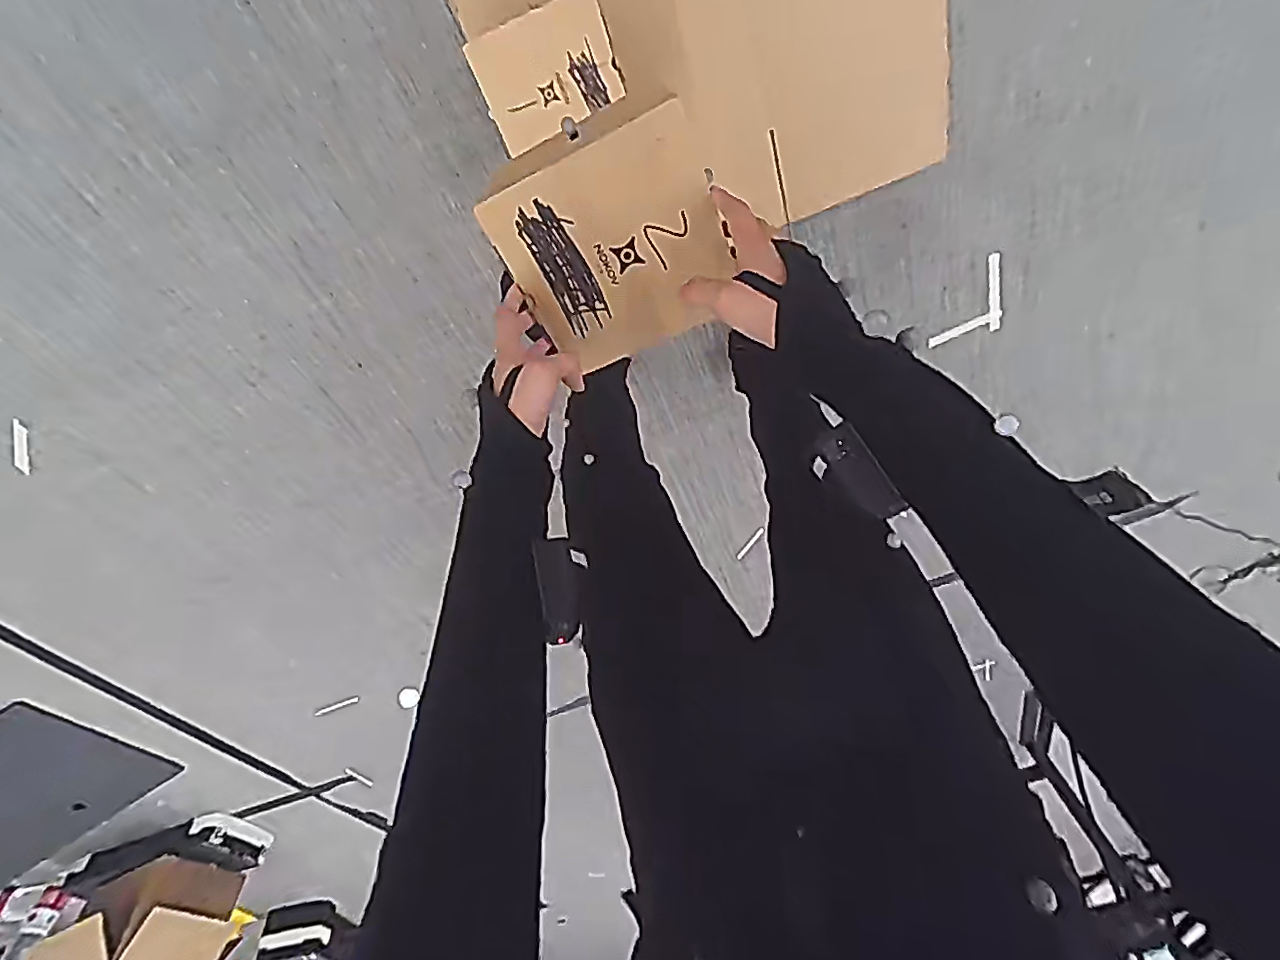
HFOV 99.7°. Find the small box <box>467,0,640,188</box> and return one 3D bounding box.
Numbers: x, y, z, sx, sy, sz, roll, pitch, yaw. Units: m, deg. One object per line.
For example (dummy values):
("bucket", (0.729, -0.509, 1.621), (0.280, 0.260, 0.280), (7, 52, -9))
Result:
("small box", (-0.116, -0.542, 0.757), (0.179, 0.176, 0.168), (-19, 127, 7))
